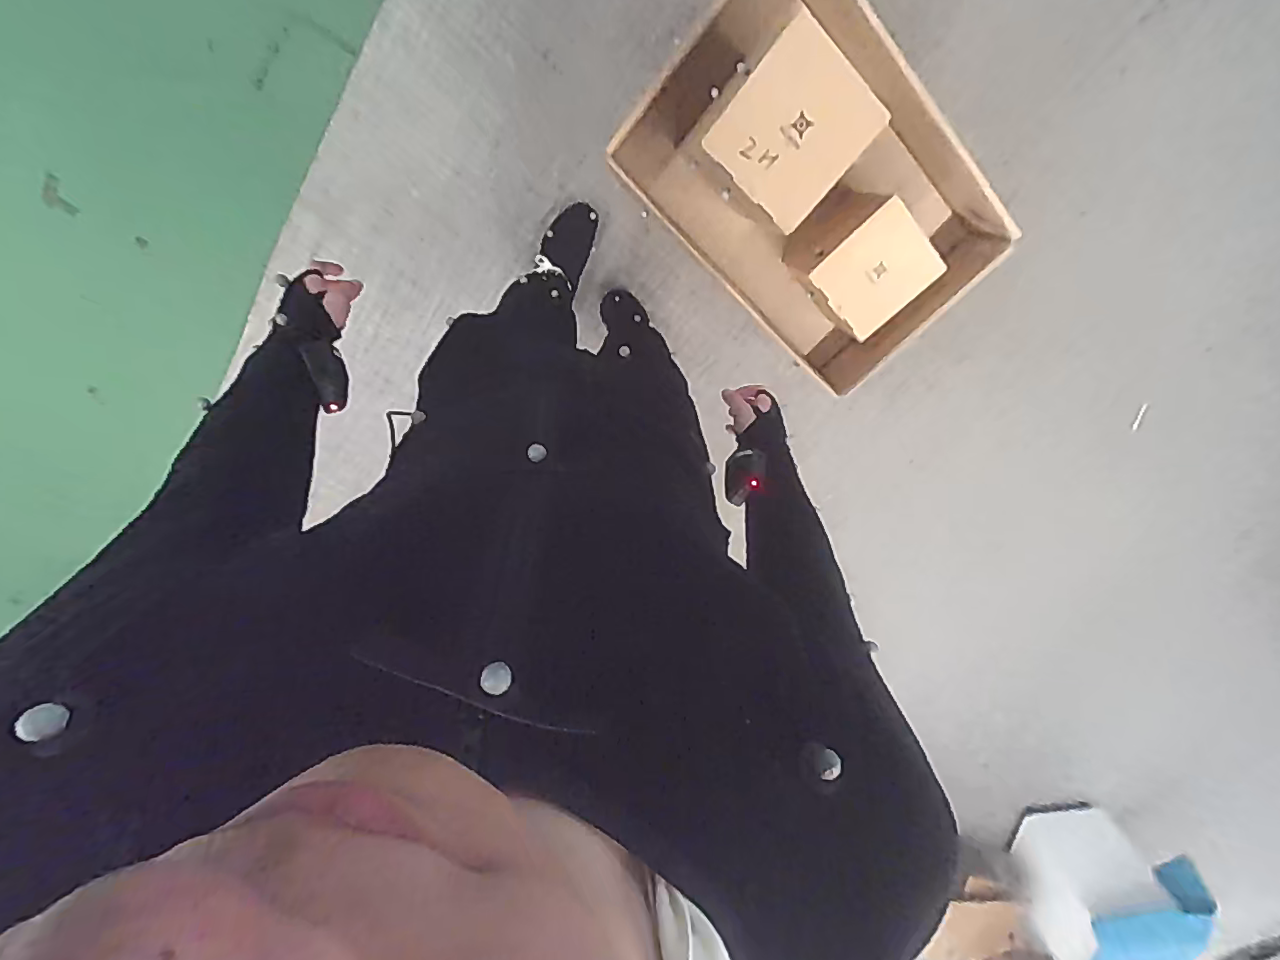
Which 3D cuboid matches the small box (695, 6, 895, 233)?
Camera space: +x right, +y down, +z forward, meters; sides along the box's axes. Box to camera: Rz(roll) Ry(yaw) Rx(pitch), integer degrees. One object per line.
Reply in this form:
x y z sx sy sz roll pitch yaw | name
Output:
0.191 -0.467 0.727 0.168 0.176 0.179 36 112 -20 | small box
